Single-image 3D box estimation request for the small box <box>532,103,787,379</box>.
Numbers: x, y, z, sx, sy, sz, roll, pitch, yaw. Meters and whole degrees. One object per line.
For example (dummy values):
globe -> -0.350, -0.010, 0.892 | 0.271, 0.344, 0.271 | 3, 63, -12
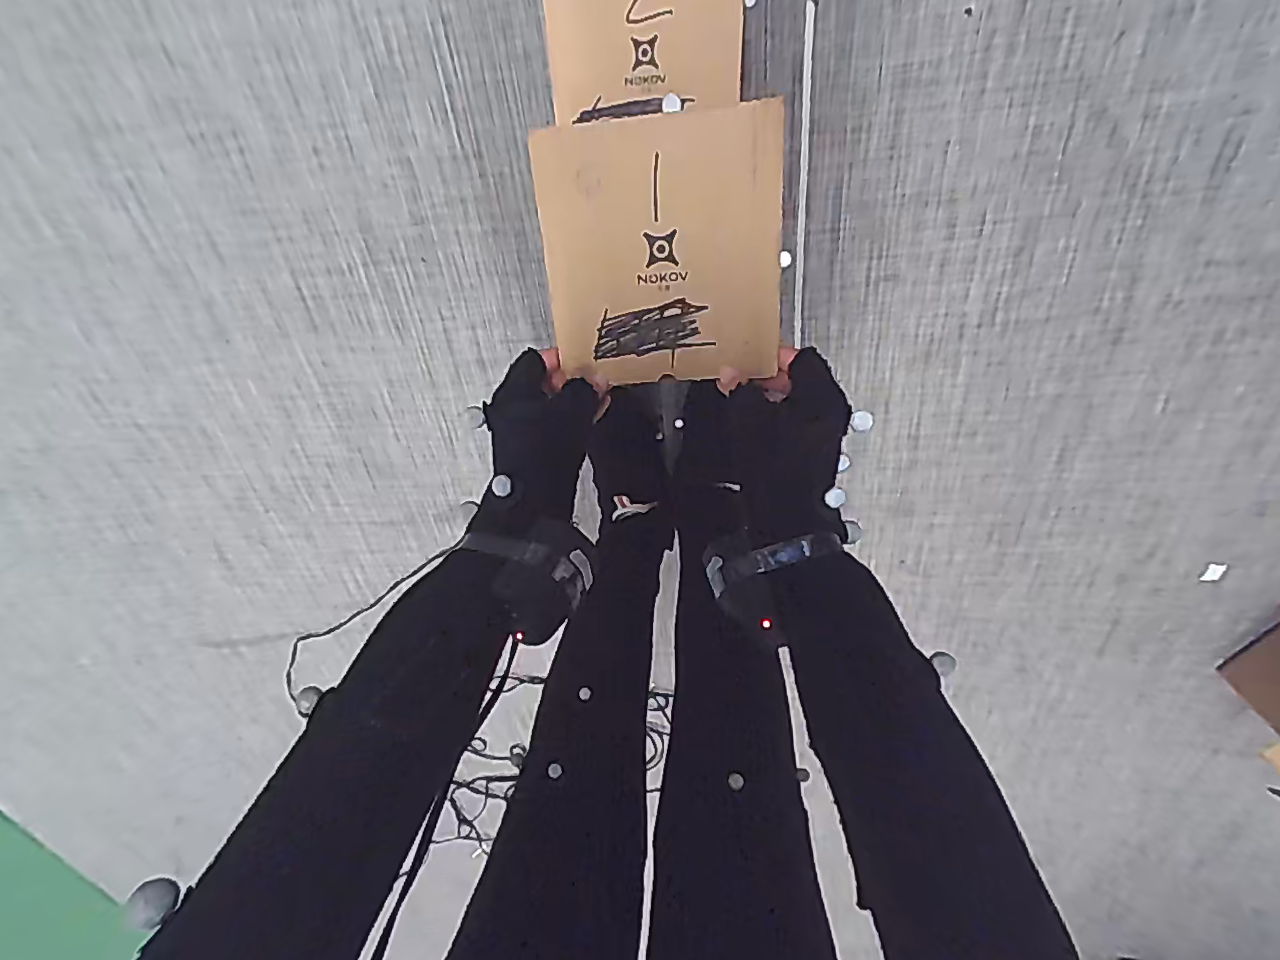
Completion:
small box -> 0.026, -0.197, 0.451 | 0.168, 0.176, 0.179 | -1, 121, 8
